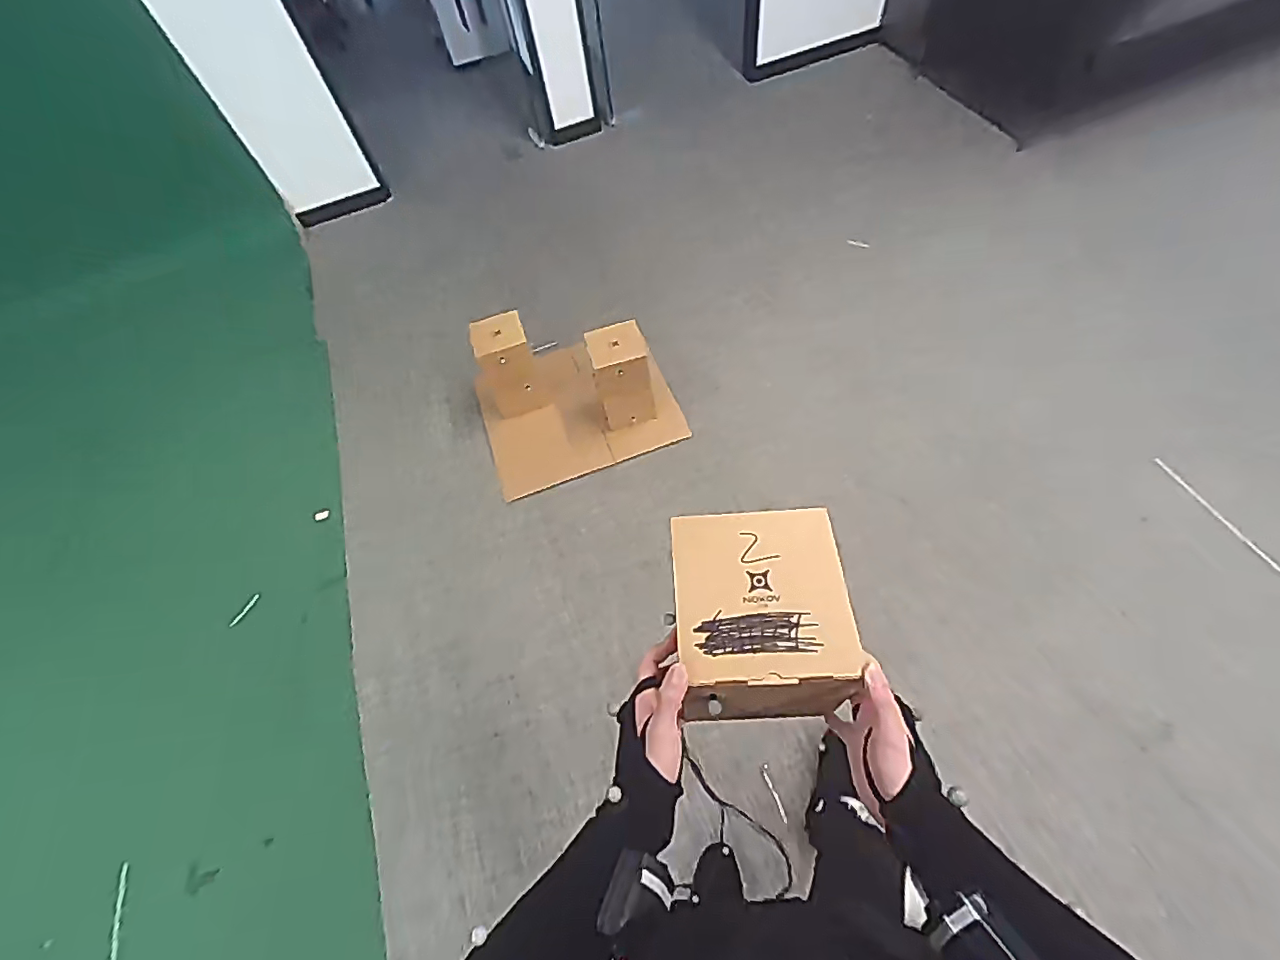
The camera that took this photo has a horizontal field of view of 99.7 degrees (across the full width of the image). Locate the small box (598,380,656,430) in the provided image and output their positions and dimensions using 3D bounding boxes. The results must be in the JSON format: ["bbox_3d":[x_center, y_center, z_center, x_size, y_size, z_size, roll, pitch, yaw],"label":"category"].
[{"bbox_3d":[-0.046,-0.304,1.918,0.179,0.176,0.168,-18,59,-3],"label":"small box"}]

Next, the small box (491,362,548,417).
[{"bbox_3d":[-0.448,-0.362,1.999,0.179,0.176,0.168,-19,59,-4],"label":"small box"}]

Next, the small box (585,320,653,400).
[{"bbox_3d":[-0.066,-0.389,1.778,0.179,0.176,0.168,-16,60,-1],"label":"small box"}]

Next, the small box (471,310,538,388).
[{"bbox_3d":[-0.459,-0.445,1.860,0.179,0.176,0.168,-19,60,-3],"label":"small box"}]
